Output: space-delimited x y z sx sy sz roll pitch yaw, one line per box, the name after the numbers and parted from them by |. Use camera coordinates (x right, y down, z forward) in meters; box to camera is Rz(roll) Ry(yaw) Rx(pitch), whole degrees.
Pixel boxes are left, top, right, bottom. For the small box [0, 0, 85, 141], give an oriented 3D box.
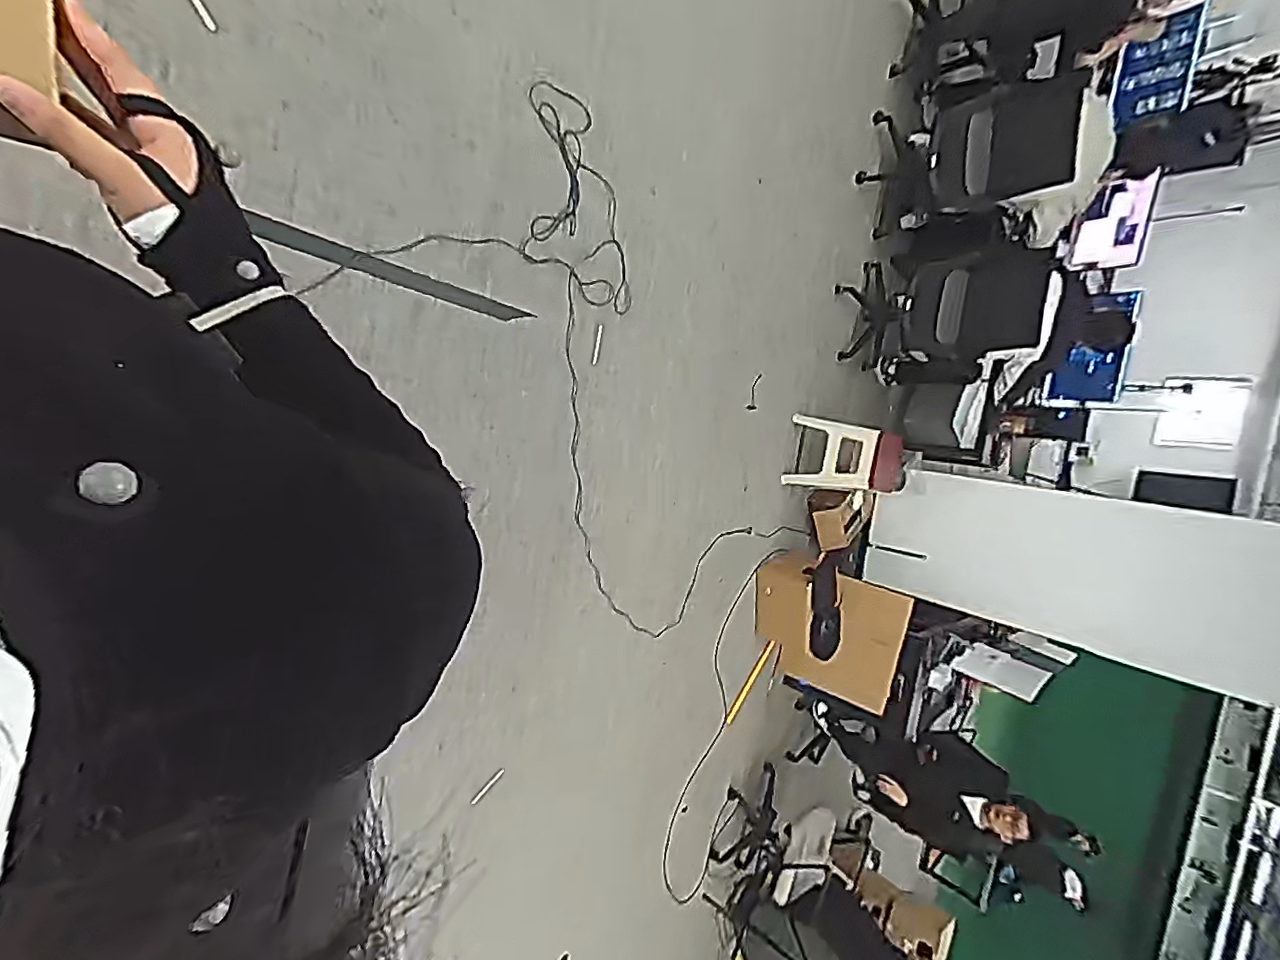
-0.434 -0.312 0.295 0.179 0.176 0.168 -4 109 -45 | small box
